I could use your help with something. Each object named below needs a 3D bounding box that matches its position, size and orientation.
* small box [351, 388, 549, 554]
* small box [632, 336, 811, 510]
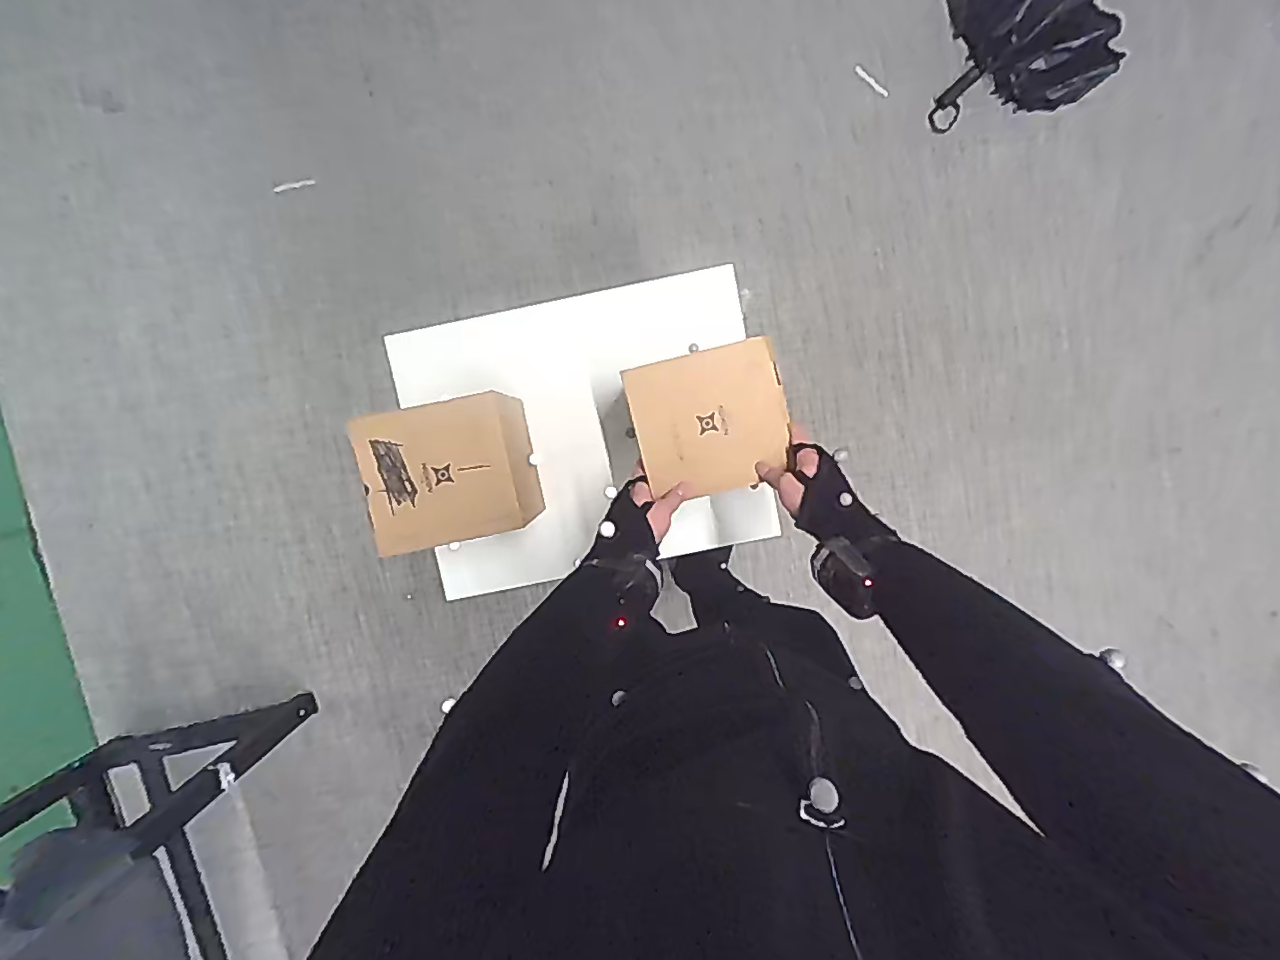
[{"bbox_3d":[-0.226,-0.015,0.688,0.179,0.176,0.168,-11,96,-1],"label":"small box"},{"bbox_3d":[0.094,-0.071,0.687,0.179,0.176,0.168,-14,94,3],"label":"small box"}]
